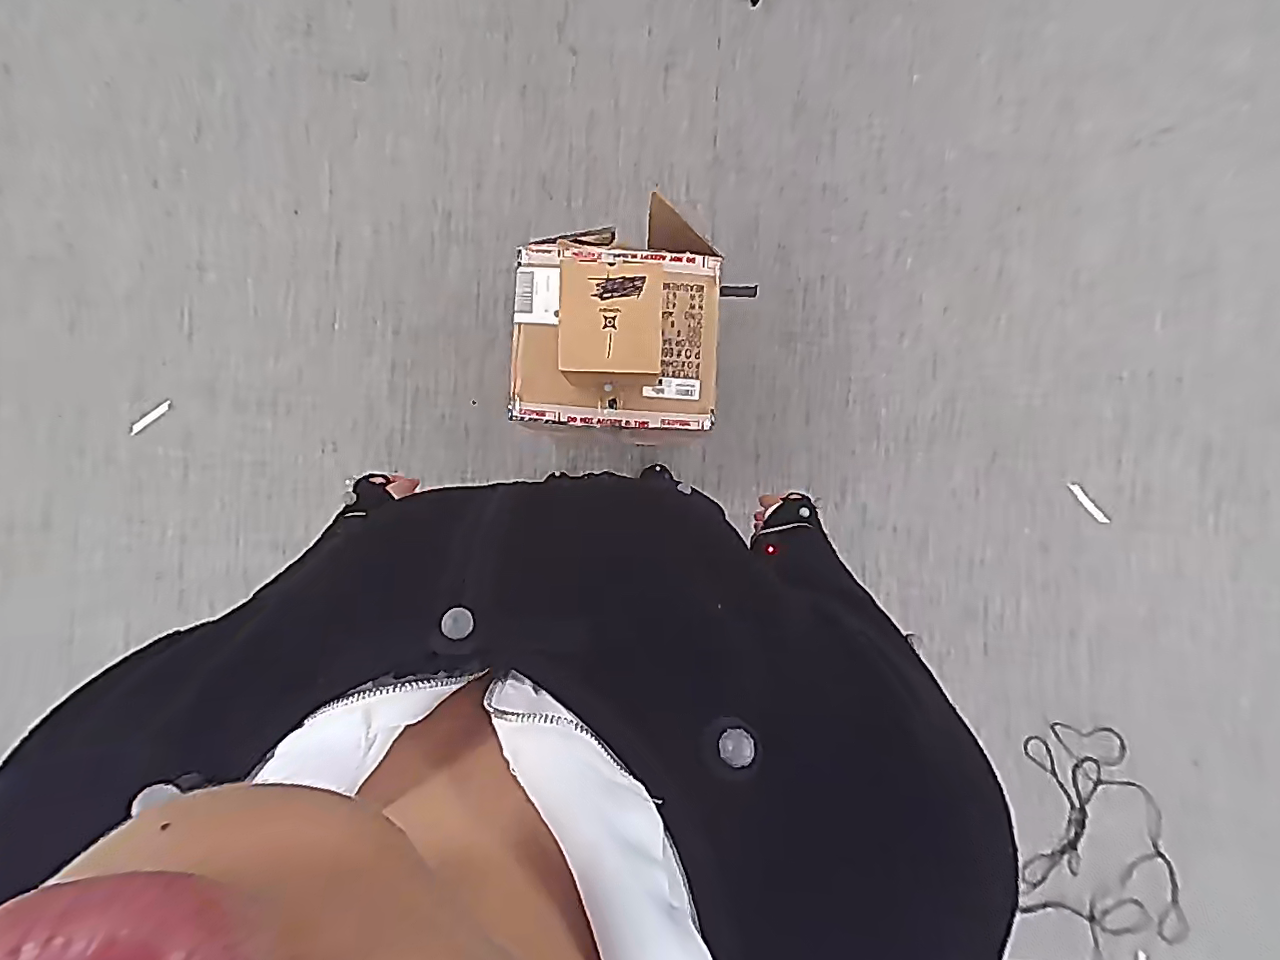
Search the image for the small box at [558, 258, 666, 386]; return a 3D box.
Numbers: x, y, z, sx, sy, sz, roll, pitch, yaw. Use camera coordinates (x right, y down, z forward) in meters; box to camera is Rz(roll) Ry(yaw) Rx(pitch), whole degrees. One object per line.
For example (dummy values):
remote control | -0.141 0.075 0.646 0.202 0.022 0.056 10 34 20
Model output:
small box | -0.046 -0.263 0.932 0.168 0.176 0.179 2 93 0
